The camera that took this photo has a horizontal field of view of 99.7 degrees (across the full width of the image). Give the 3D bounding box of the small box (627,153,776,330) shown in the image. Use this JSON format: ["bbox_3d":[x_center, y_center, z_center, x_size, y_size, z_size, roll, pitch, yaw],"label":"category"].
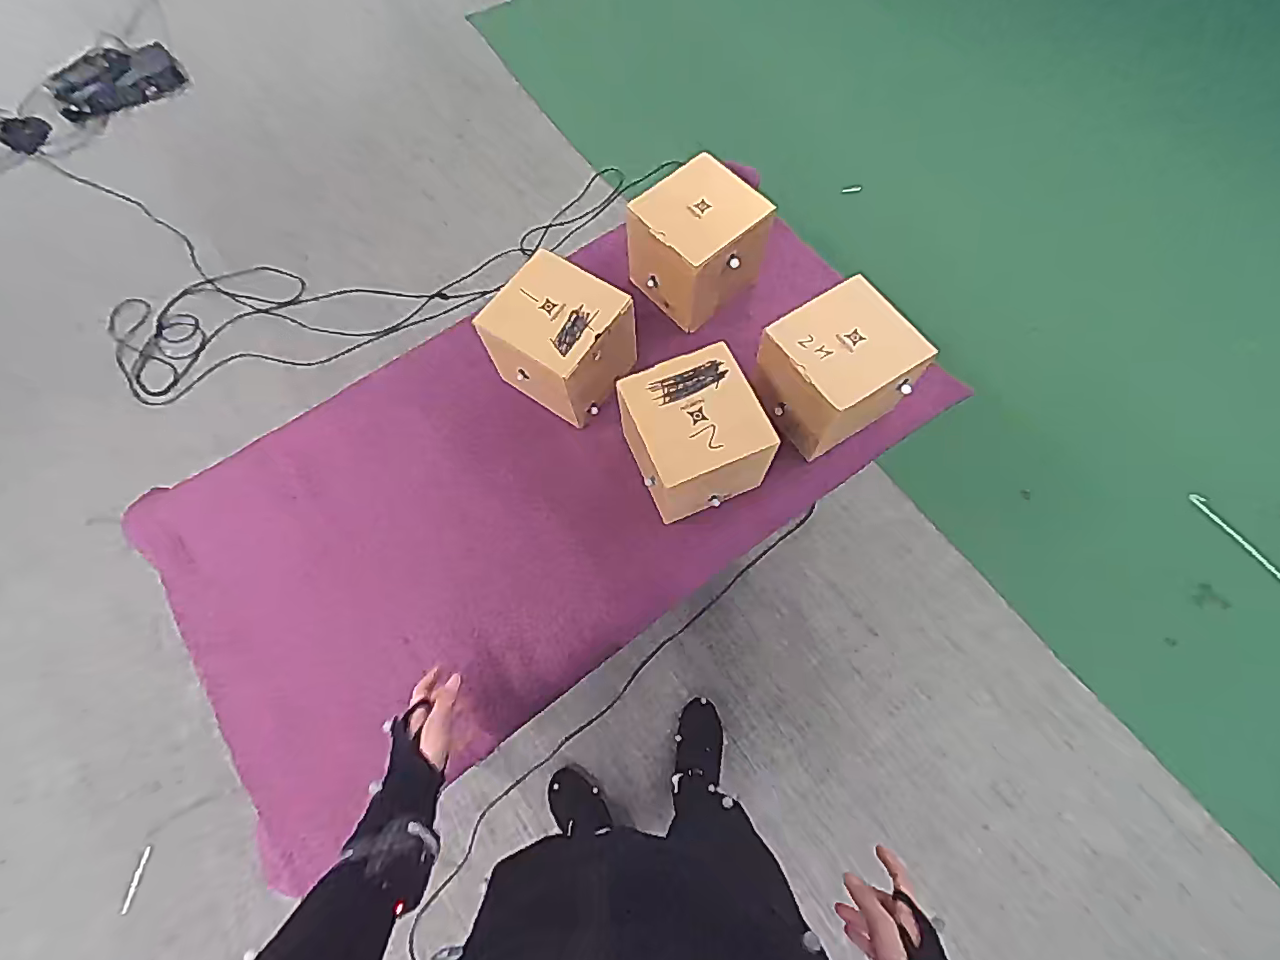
[{"bbox_3d":[0.096,-0.394,0.913,0.179,0.176,0.168,-40,74,-10],"label":"small box"}]

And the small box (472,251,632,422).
[{"bbox_3d":[-0.125,-0.215,0.857,0.179,0.176,0.168,33,75,13],"label":"small box"}]

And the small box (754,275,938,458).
[{"bbox_3d":[0.293,-0.163,0.816,0.179,0.176,0.168,-31,70,-8],"label":"small box"}]
